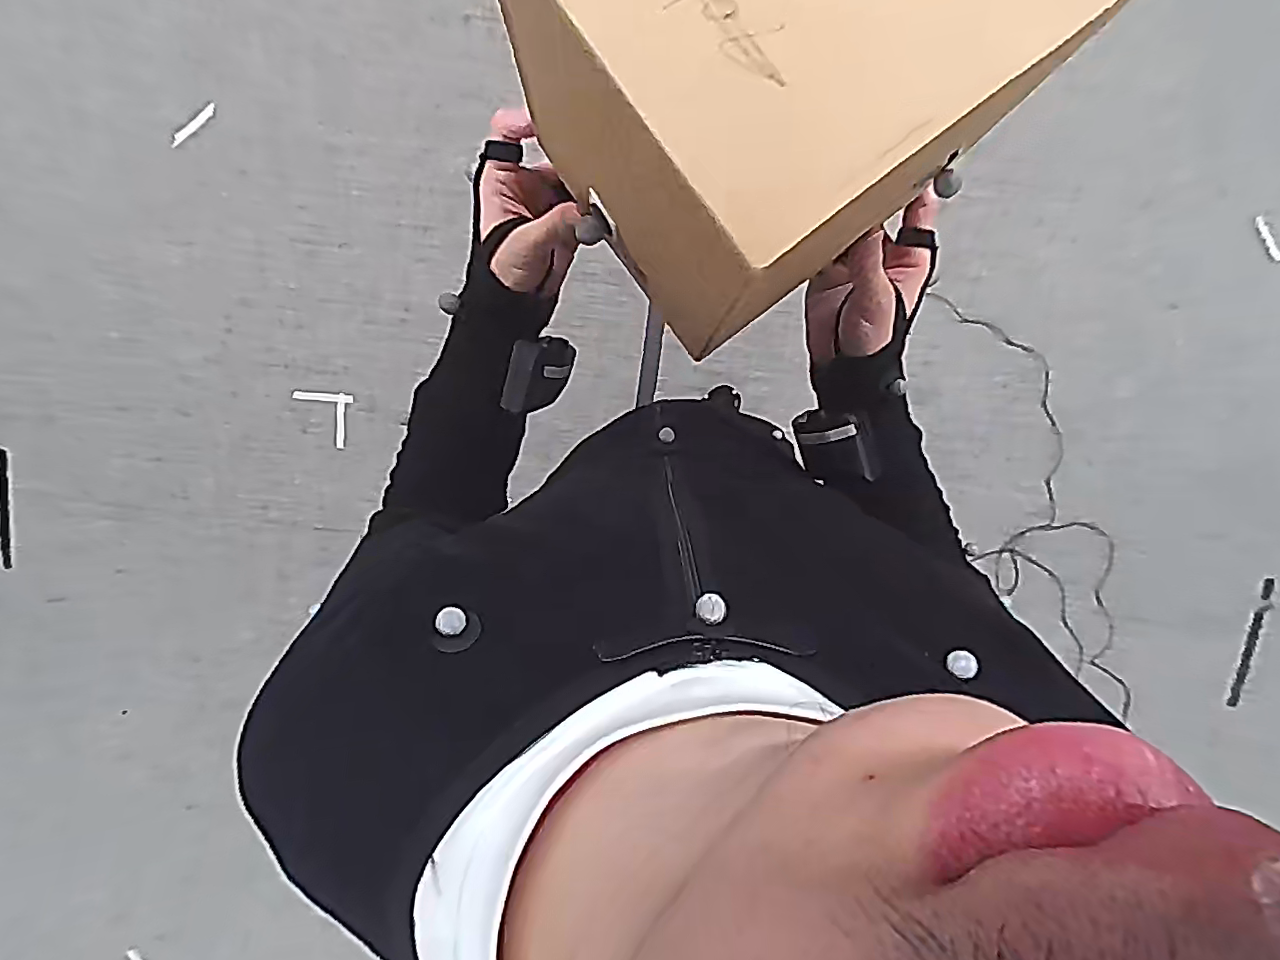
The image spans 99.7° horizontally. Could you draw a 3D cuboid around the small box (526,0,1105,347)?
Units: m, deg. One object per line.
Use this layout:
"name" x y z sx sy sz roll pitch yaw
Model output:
"small box" 0.059 -0.196 0.275 0.179 0.176 0.168 -38 91 0
